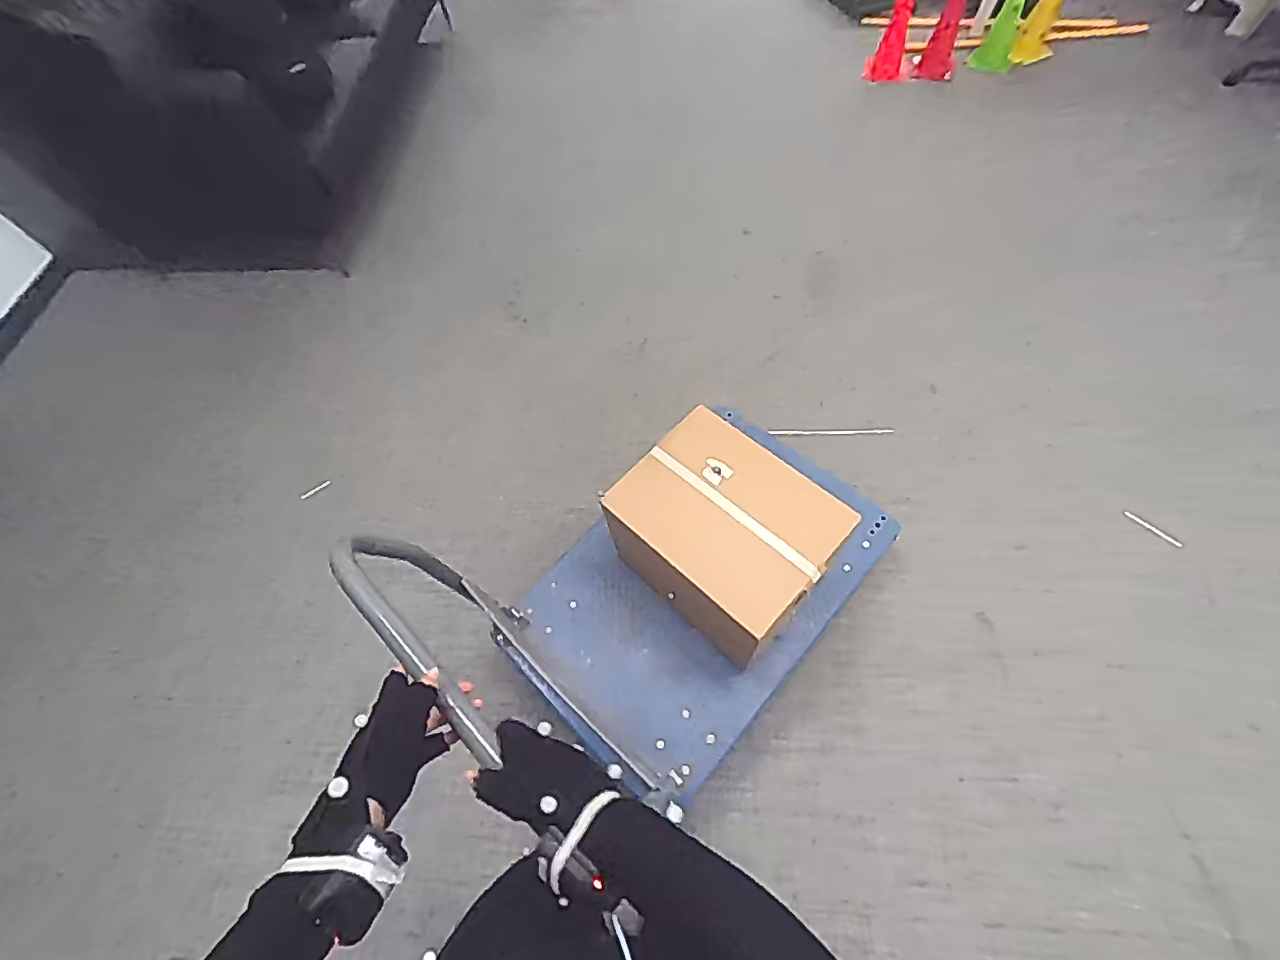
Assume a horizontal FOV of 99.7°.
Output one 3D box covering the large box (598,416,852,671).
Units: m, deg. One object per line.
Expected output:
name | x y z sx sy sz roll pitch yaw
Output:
large box | 0.175 0.143 1.181 0.408 0.320 0.320 39 70 24
